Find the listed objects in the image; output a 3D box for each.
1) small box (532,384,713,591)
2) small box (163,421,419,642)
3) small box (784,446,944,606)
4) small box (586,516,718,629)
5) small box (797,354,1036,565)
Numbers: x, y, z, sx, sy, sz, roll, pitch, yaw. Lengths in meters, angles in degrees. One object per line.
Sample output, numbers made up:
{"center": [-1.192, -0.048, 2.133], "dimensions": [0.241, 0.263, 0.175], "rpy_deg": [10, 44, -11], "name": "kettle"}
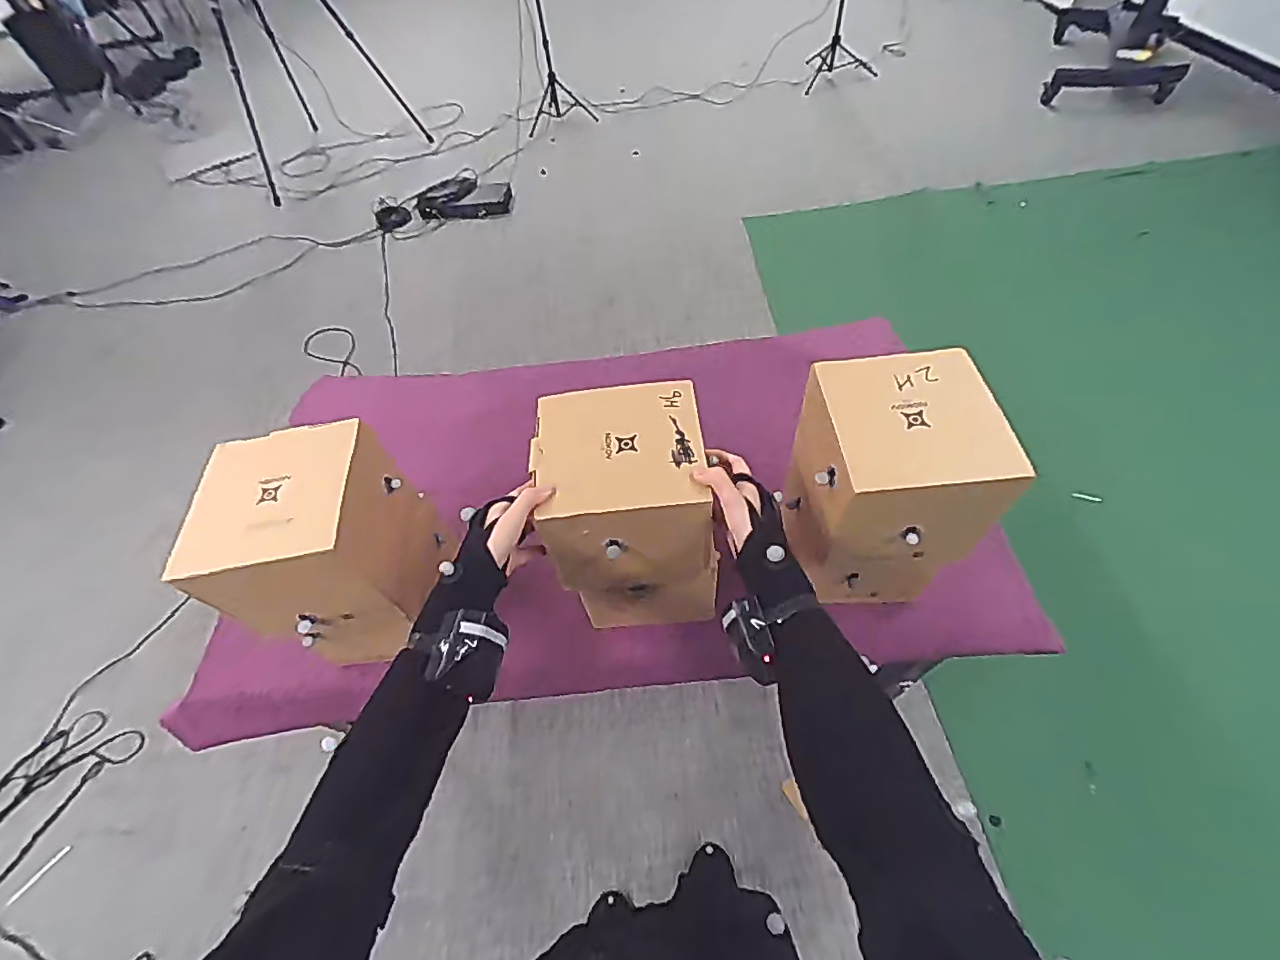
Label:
{"center": [-0.013, 0.015, 0.617], "dimensions": [0.179, 0.176, 0.168], "rpy_deg": [-6, 54, 2], "name": "small box"}
{"center": [-0.369, 0.061, 0.617], "dimensions": [0.168, 0.176, 0.179], "rpy_deg": [-10, 53, -1], "name": "small box"}
{"center": [0.300, 0.067, 0.751], "dimensions": [0.168, 0.176, 0.179], "rpy_deg": [-2, 55, 5], "name": "small box"}
{"center": [0.012, 0.099, 0.756], "dimensions": [0.179, 0.176, 0.168], "rpy_deg": [-4, 54, 2], "name": "small box"}
{"center": [0.284, -0.014, 0.606], "dimensions": [0.168, 0.176, 0.179], "rpy_deg": [-4, 54, 2], "name": "small box"}
